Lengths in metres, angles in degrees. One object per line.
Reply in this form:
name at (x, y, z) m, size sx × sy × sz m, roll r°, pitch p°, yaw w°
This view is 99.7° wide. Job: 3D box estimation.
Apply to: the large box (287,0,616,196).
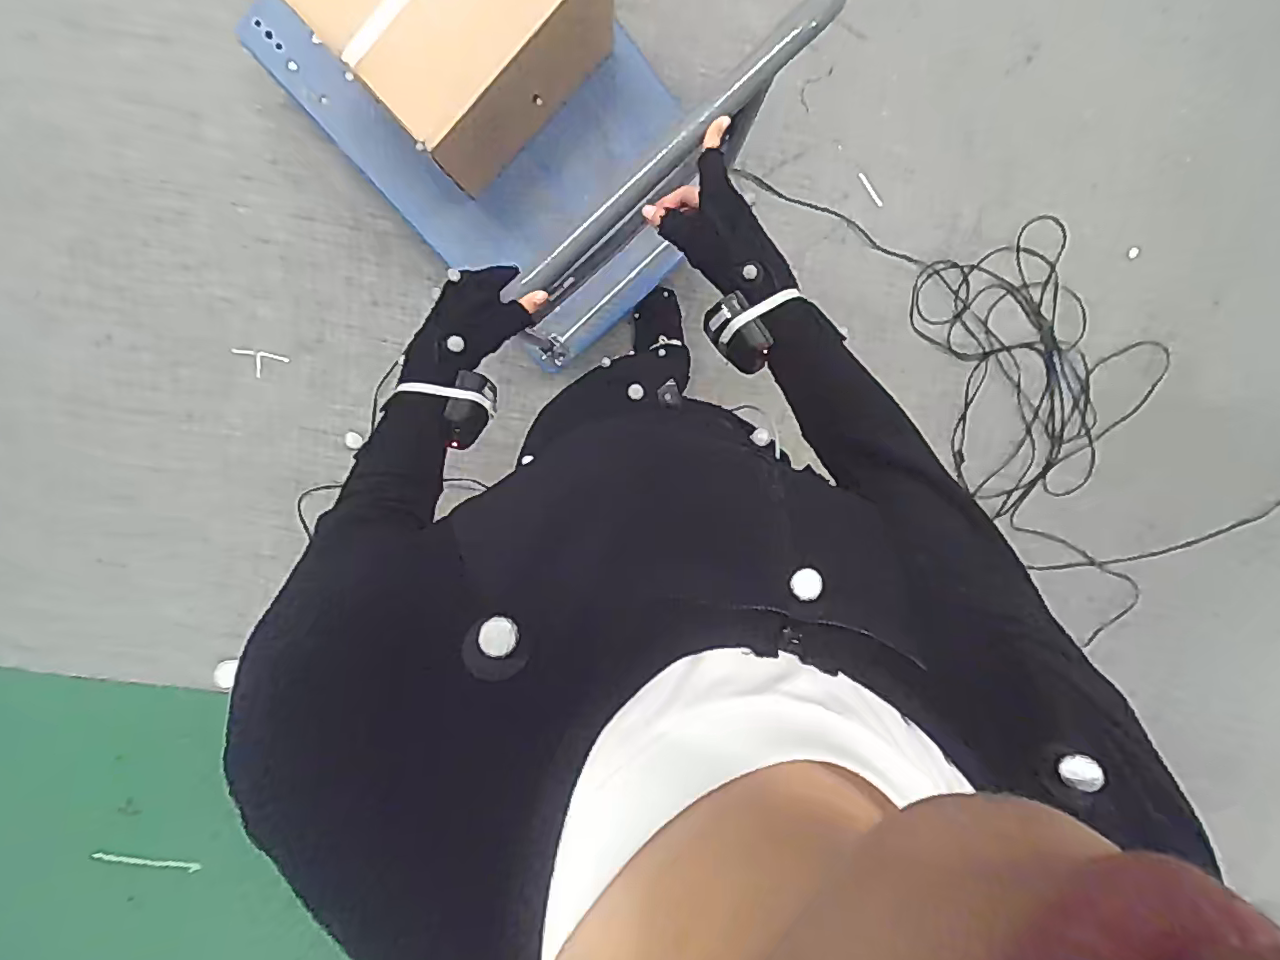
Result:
large box at (-0.283, -0.785, 0.922) m, size 0.408 × 0.320 × 0.320 m, roll -44°, pitch 103°, yaw 9°
